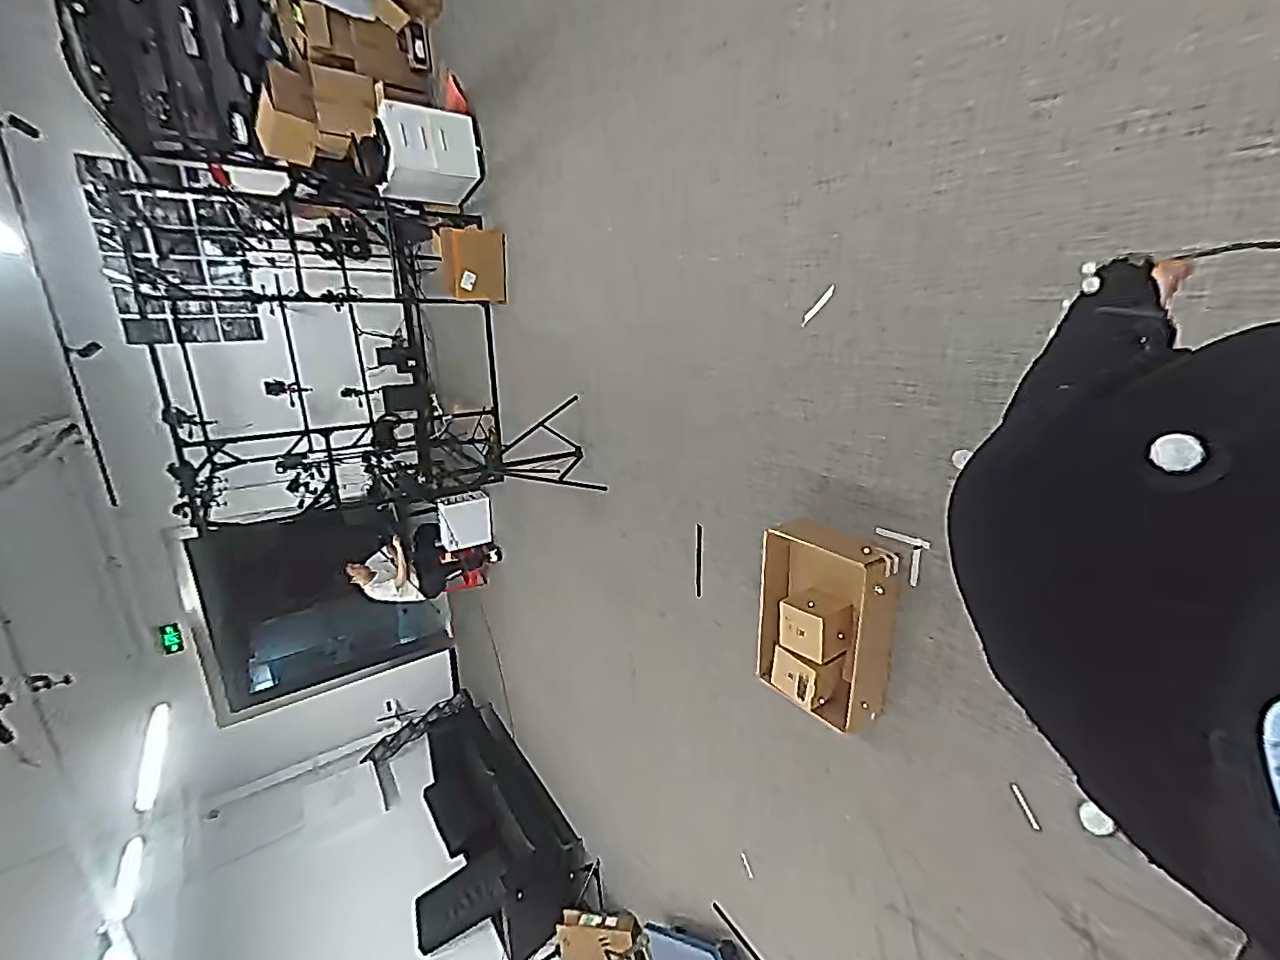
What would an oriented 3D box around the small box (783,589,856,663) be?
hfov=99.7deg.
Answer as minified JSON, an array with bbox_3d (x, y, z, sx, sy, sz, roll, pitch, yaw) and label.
[{"bbox_3d":[0.610,0.486,1.837,0.179,0.176,0.168,15,112,54],"label":"small box"}]
